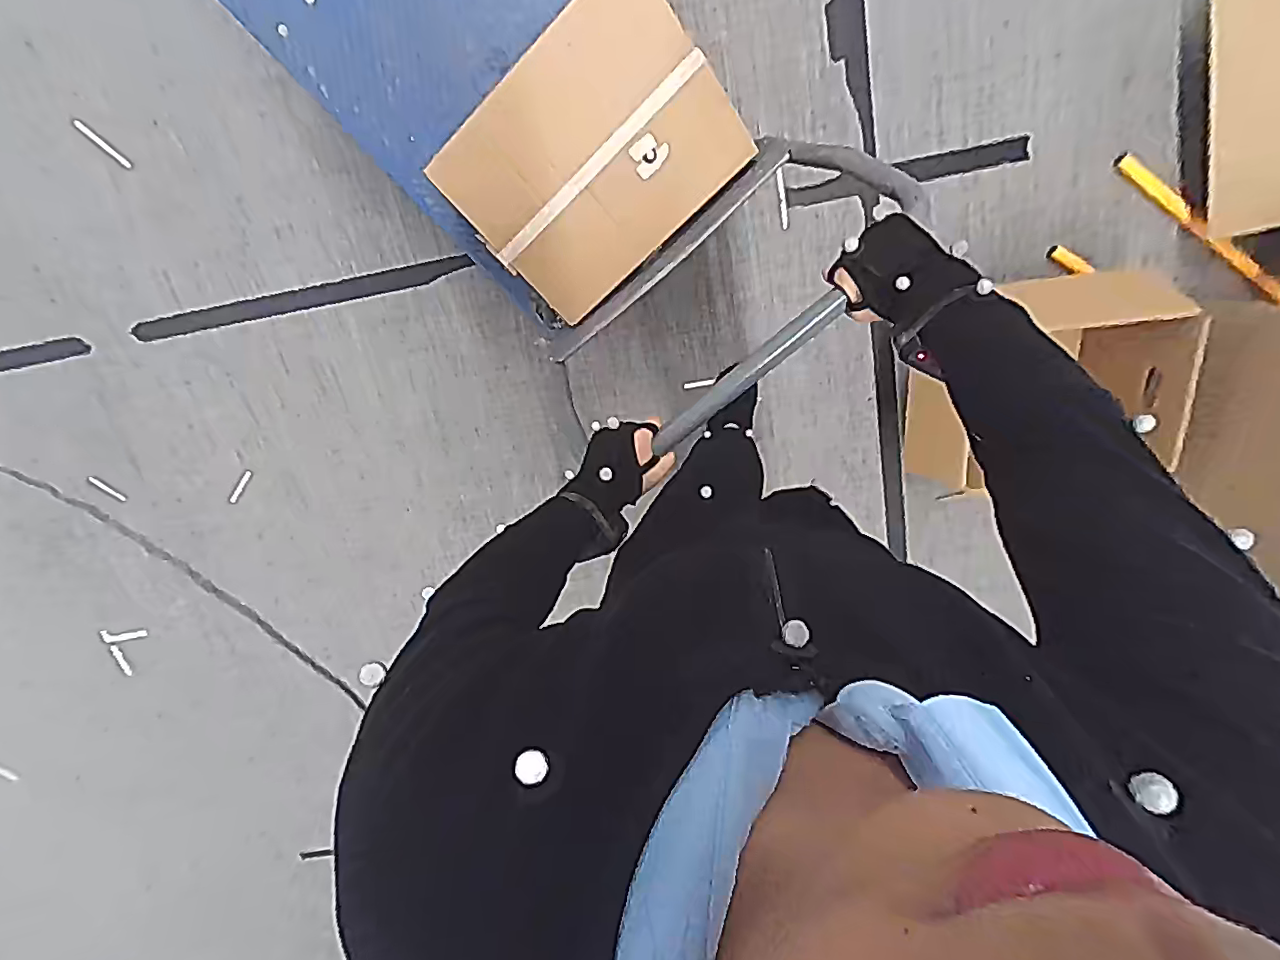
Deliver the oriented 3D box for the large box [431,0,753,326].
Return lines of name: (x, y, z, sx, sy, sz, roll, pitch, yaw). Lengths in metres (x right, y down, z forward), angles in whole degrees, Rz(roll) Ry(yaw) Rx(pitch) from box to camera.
large box: (-0.089, -0.550, 0.938, 0.408, 0.320, 0.320, -40, 120, 14)
